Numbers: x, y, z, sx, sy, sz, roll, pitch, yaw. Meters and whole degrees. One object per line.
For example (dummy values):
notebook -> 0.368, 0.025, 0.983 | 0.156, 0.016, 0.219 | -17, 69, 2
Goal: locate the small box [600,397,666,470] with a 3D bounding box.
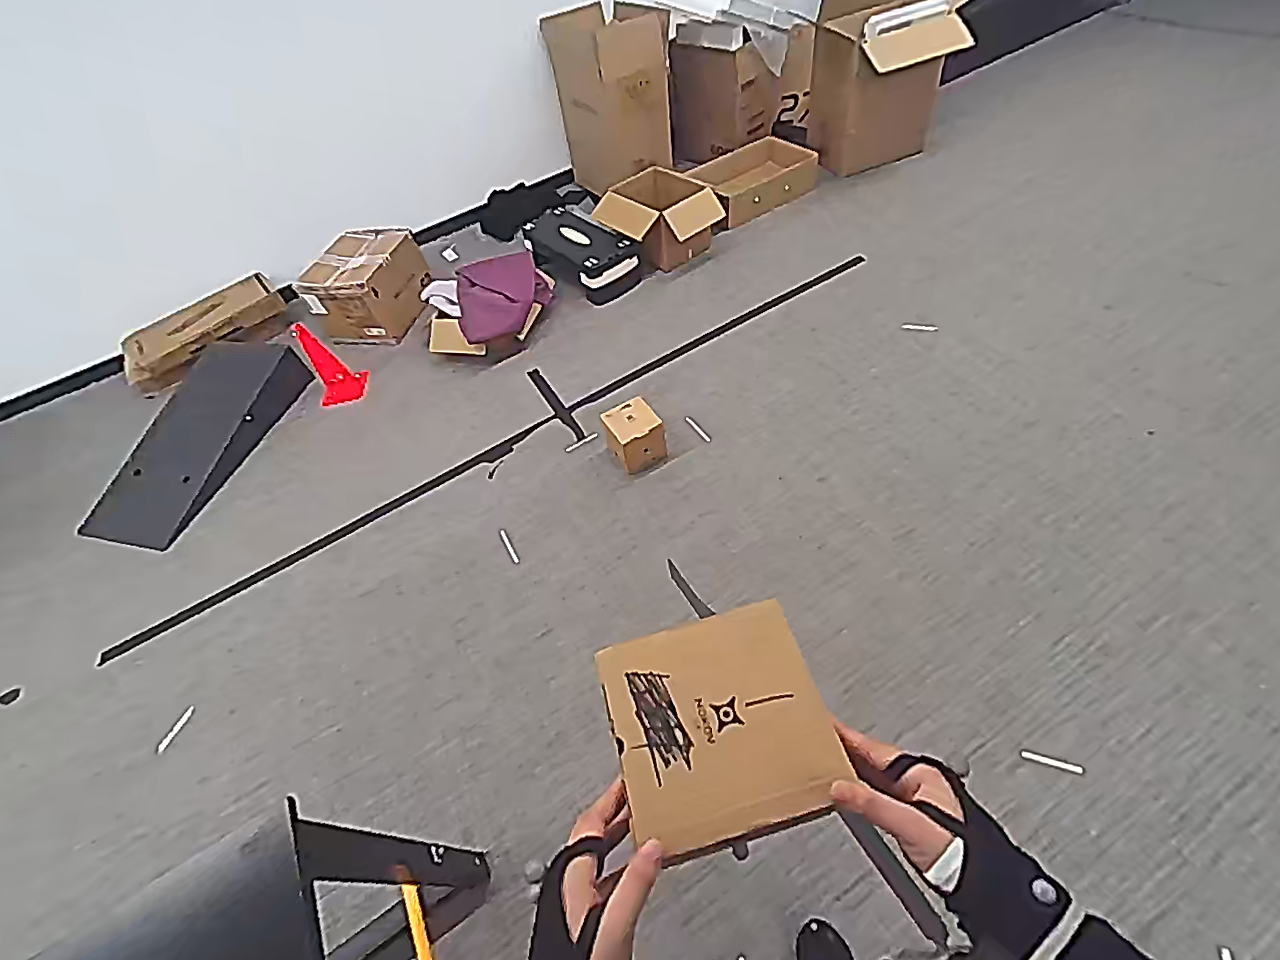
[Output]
small box -> -0.019, -0.158, 1.935 | 0.168, 0.176, 0.179 | -28, 53, -12

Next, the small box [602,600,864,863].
small box -> 0.077, 0.241, 0.507 | 0.179, 0.176, 0.168 | -16, 54, -3
